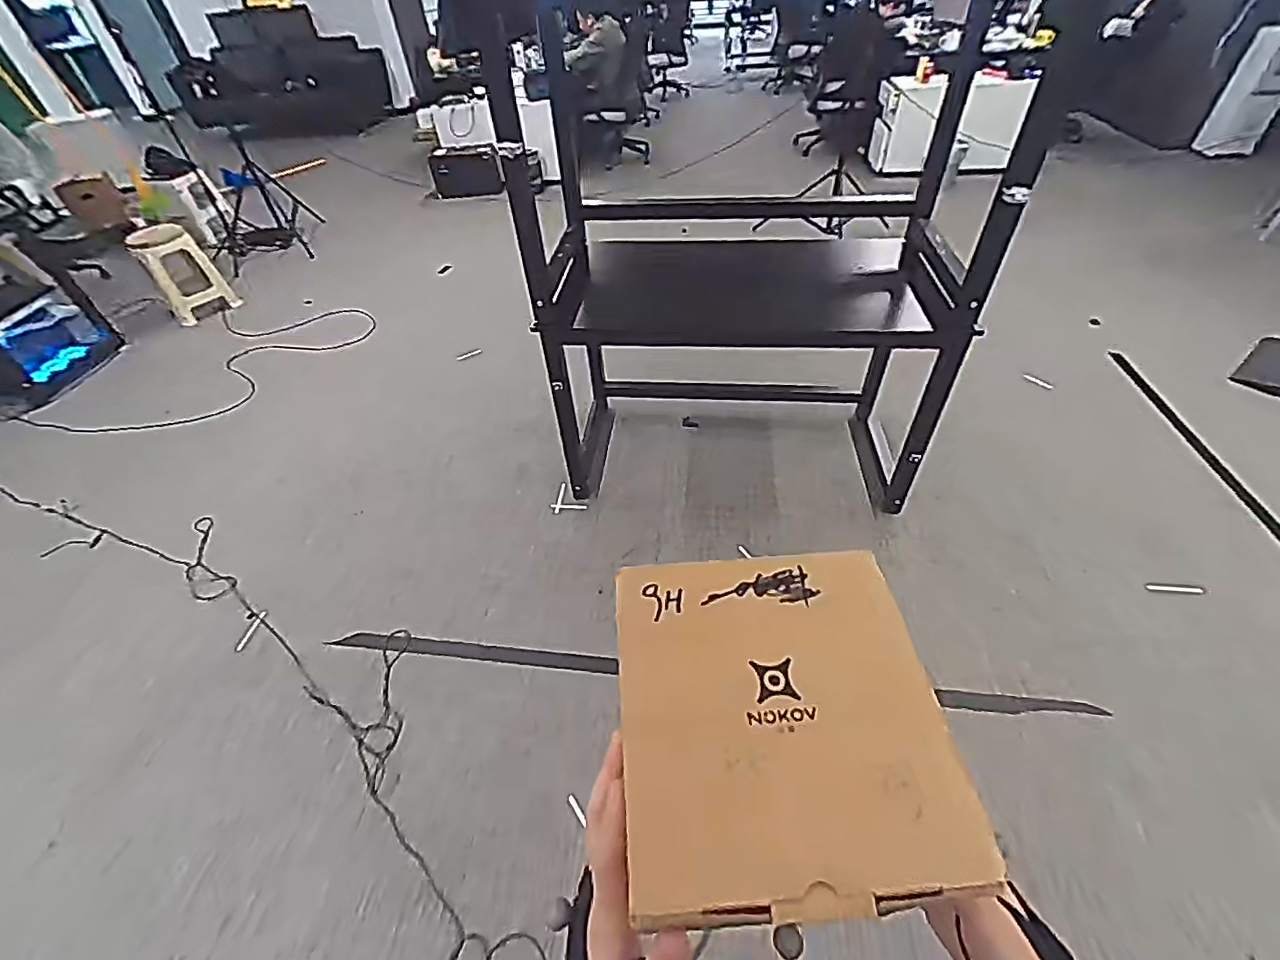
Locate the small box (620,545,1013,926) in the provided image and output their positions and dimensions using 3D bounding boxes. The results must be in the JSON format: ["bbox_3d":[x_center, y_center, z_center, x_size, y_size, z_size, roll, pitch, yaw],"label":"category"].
[{"bbox_3d":[0.076,0.163,0.341,0.168,0.176,0.179,-4,49,-1],"label":"small box"}]
